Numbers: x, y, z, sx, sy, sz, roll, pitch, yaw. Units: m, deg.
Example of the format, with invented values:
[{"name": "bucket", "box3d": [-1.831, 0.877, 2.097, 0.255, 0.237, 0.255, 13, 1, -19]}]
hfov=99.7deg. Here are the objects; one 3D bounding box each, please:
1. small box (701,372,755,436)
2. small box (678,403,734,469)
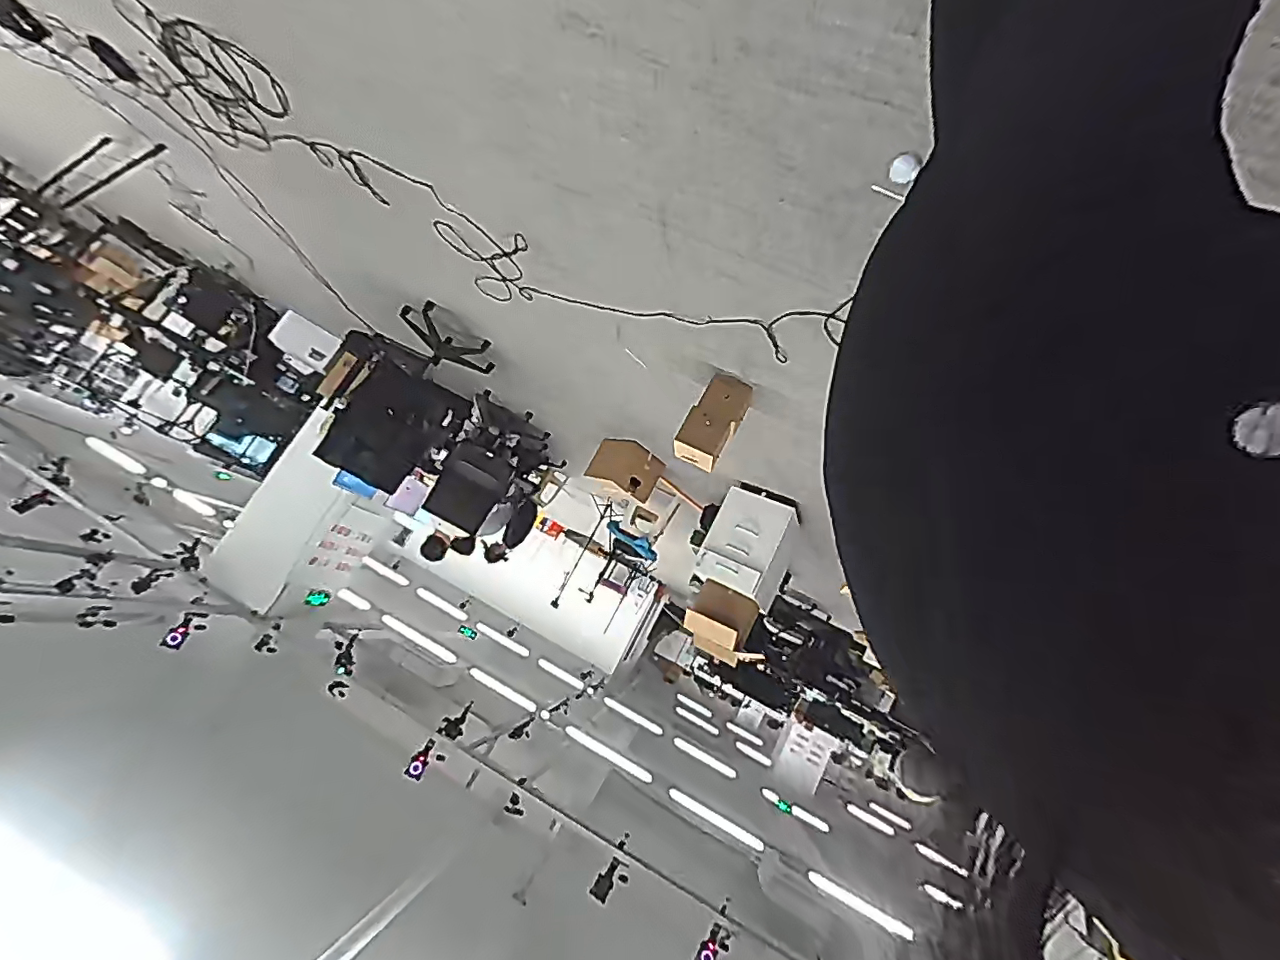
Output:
[{"name": "small box", "box3d": [0.352, -0.307, 2.182, 0.168, 0.176, 0.179, 26, 167, 14]}, {"name": "small box", "box3d": [0.261, -0.175, 2.144, 0.168, 0.176, 0.179, 25, 166, 12]}]
